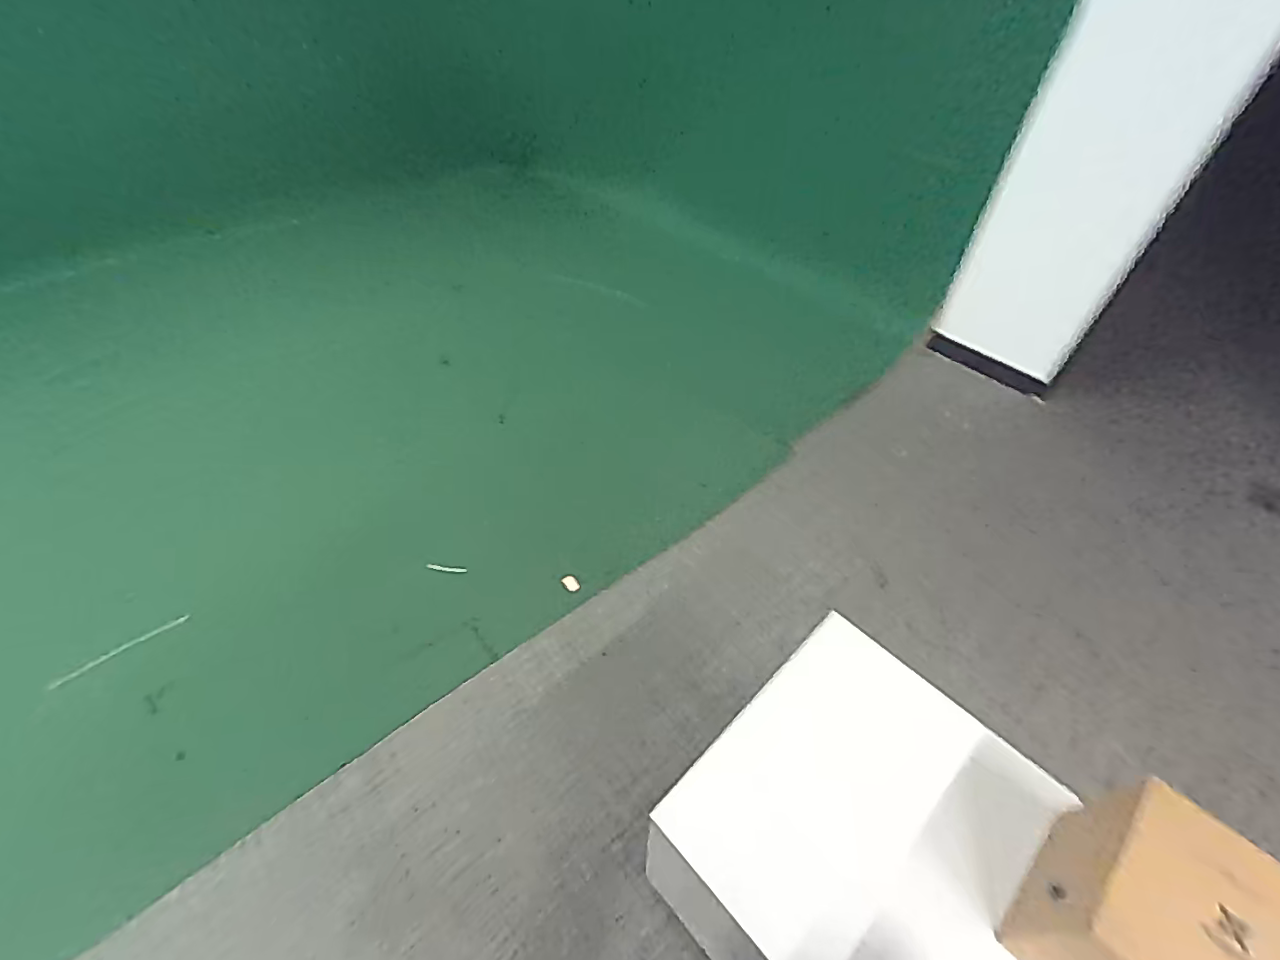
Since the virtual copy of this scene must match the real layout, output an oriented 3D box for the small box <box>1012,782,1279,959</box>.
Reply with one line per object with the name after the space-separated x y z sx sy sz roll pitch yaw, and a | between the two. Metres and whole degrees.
0.493 0.432 0.506 0.179 0.176 0.168 -34 57 -28 | small box
